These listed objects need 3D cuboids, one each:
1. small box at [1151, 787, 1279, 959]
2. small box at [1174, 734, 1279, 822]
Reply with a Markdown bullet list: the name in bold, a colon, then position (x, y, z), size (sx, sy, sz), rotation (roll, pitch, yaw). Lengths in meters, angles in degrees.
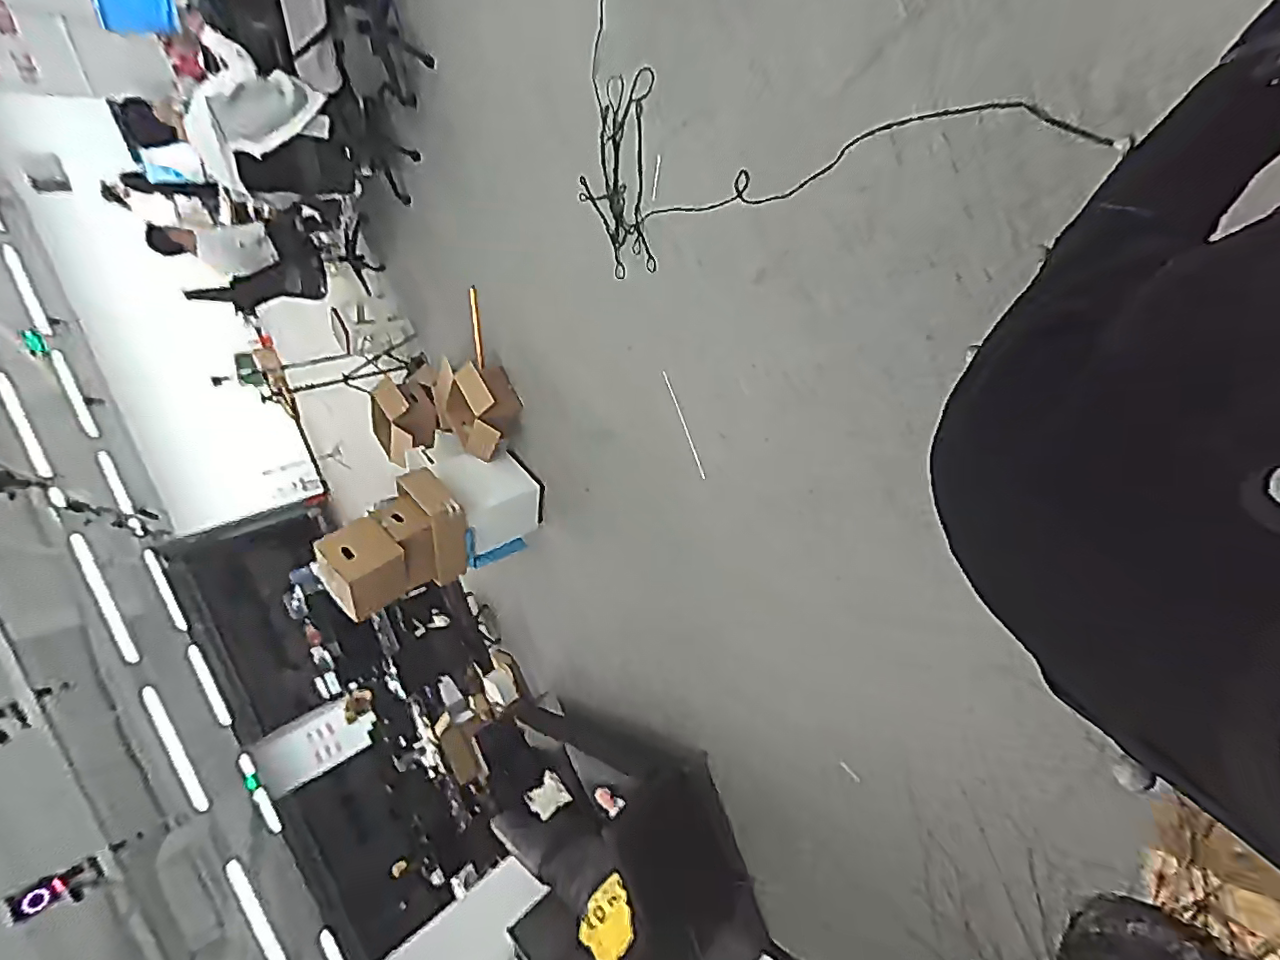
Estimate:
- **small box**: position (1.029, 0.685, 0.945), size (0.179, 0.176, 0.168), rotation (6, 115, 51)
- **small box**: position (1.150, 0.642, 1.047), size (0.168, 0.176, 0.179), rotation (17, 123, 48)
